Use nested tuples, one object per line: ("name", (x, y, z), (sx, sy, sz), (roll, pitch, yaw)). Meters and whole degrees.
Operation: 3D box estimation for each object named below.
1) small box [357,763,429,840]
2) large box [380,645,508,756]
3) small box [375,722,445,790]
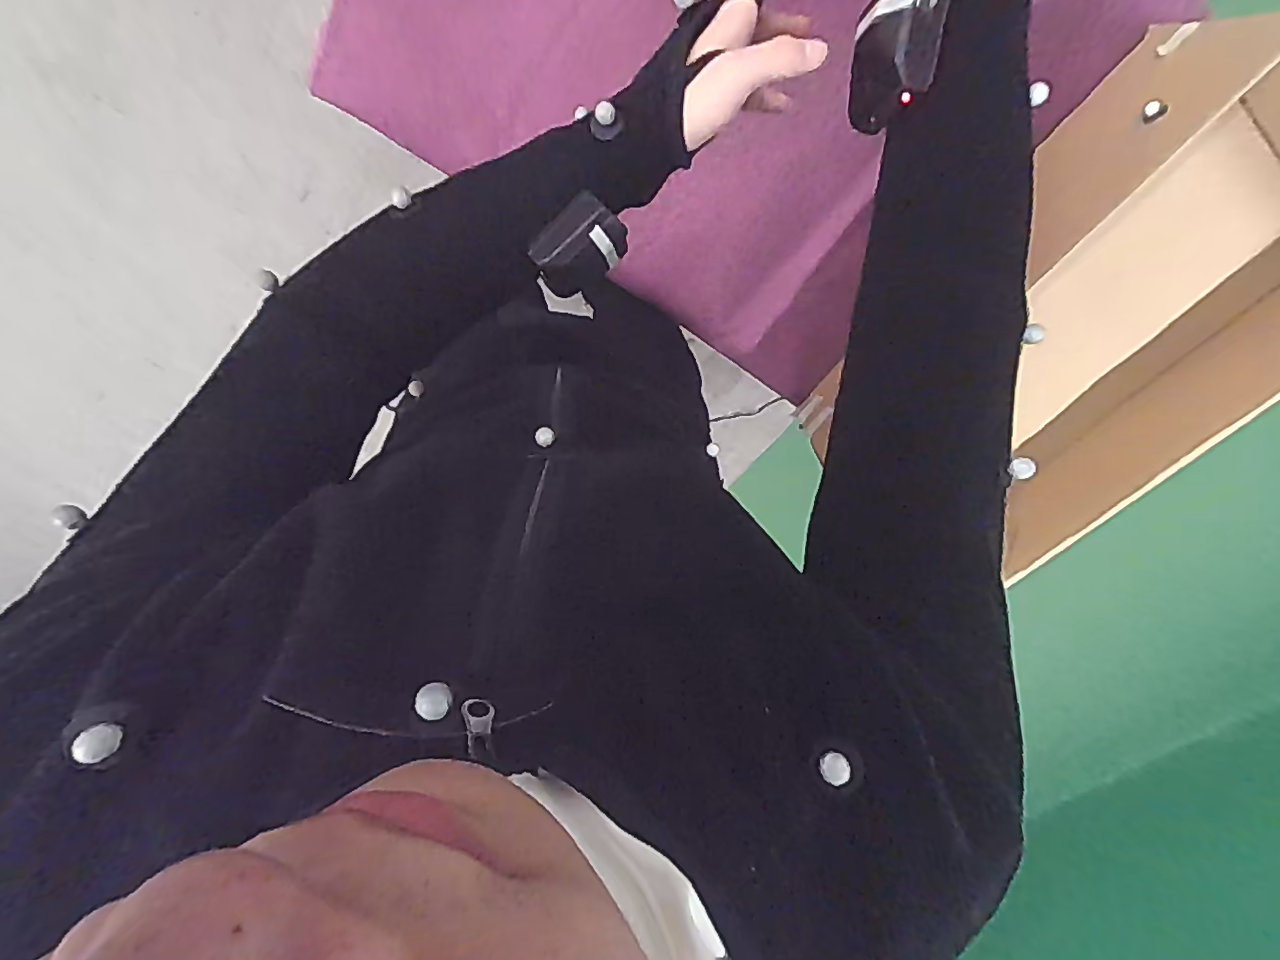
("small box", (-0.827, 1.089, 1.833), (0.168, 0.176, 0.179), (1, 122, -5))
("large box", (-0.775, 0.896, 2.200), (0.408, 0.320, 0.320), (0, 125, -4))
("small box", (-0.834, 1.006, 1.973), (0.179, 0.176, 0.168), (0, 124, -3))
